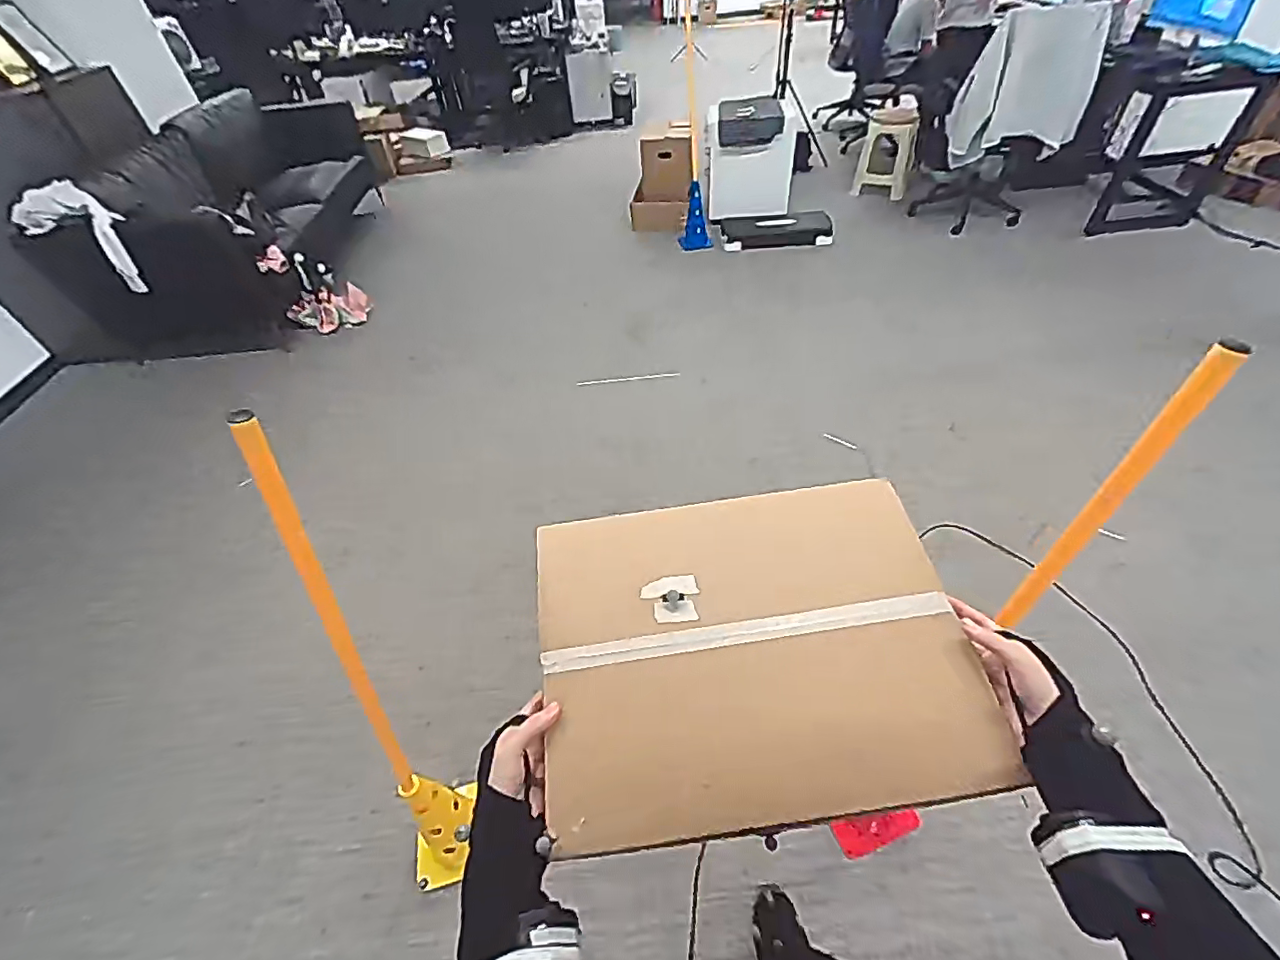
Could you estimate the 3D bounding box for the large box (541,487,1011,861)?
[{"bbox_3d":[0.116,0.246,0.662,0.408,0.320,0.320,-9,54,-1],"label":"large box"}]
